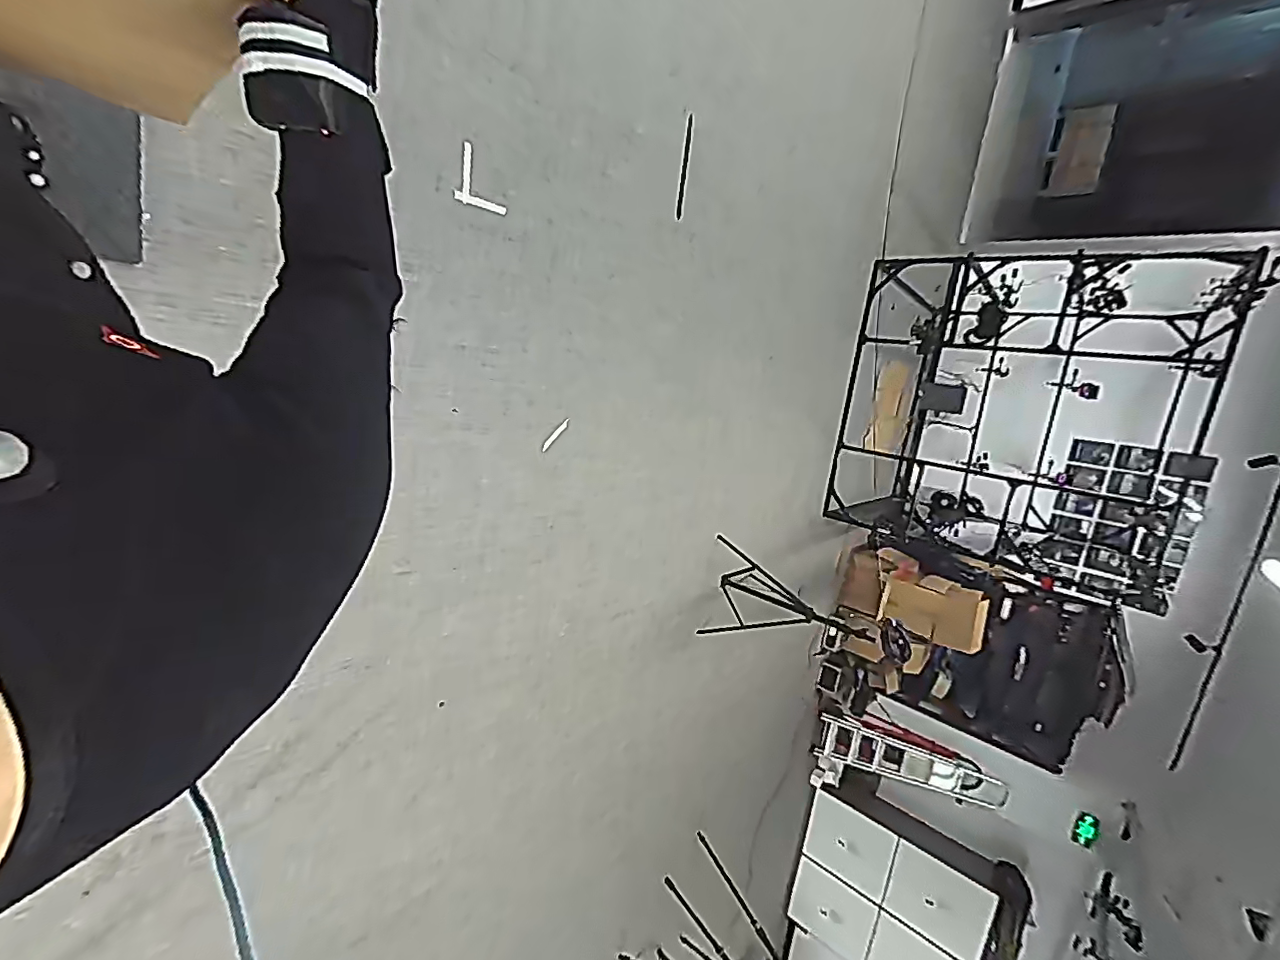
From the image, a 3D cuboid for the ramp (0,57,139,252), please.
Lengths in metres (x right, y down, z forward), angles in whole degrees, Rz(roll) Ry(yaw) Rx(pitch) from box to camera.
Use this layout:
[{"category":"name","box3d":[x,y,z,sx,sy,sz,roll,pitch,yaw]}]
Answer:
[{"category":"ramp","box3d":[-1.016,-0.886,0.737,0.509,0.206,0.991,-9,110,-51]}]

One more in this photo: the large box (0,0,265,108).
[{"category":"large box","box3d":[-0.465,-0.470,0.268,0.408,0.320,0.320,-9,106,-50]}]
